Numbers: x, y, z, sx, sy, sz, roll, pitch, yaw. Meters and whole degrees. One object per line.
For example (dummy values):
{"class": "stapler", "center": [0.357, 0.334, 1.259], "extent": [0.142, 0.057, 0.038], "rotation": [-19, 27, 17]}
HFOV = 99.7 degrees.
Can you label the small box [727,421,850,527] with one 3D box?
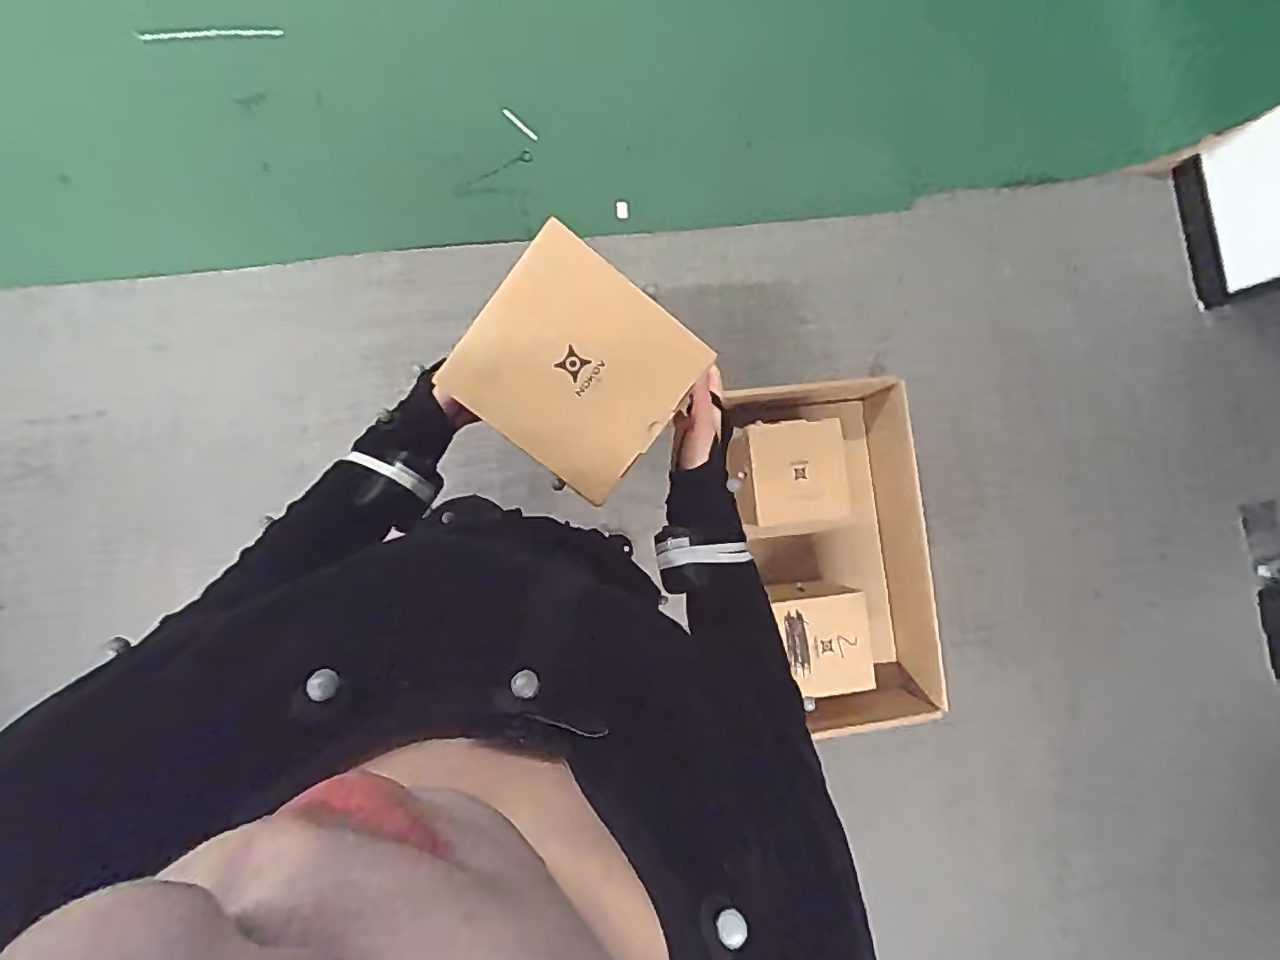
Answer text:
{"class": "small box", "center": [0.264, -0.007, 0.996], "extent": [0.168, 0.176, 0.179], "rotation": [-4, 88, -5]}
